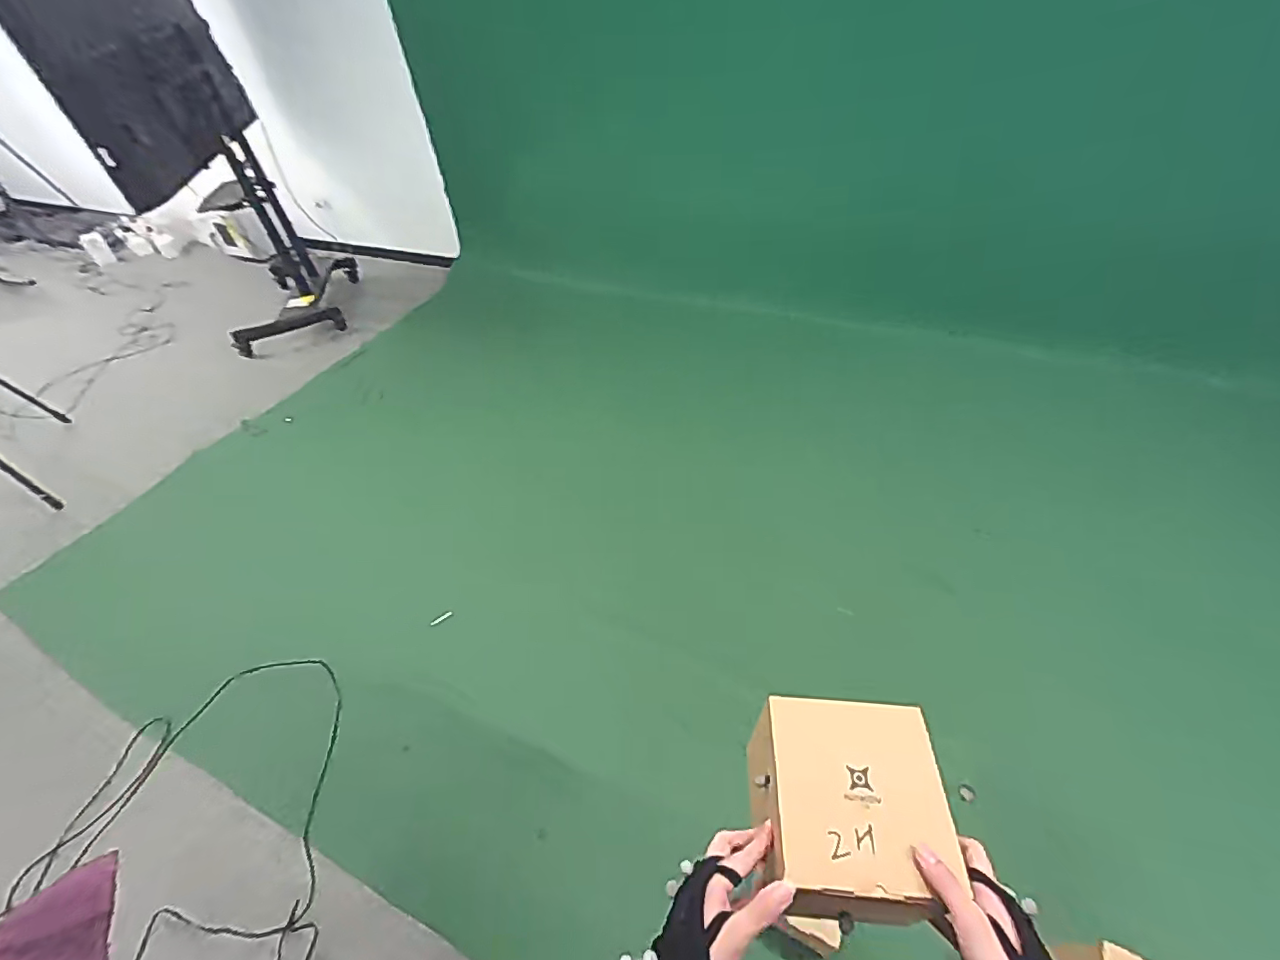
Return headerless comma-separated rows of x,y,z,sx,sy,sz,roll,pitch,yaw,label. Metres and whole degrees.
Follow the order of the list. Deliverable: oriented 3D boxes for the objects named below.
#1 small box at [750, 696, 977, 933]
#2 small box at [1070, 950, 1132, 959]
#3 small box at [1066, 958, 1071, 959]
0.215,0.359,0.583,0.168,0.176,0.179,3,46,4,small box
0.859,0.954,0.918,0.168,0.176,0.179,19,50,22,small box
0.871,1.070,1.034,0.168,0.176,0.179,18,50,22,small box
